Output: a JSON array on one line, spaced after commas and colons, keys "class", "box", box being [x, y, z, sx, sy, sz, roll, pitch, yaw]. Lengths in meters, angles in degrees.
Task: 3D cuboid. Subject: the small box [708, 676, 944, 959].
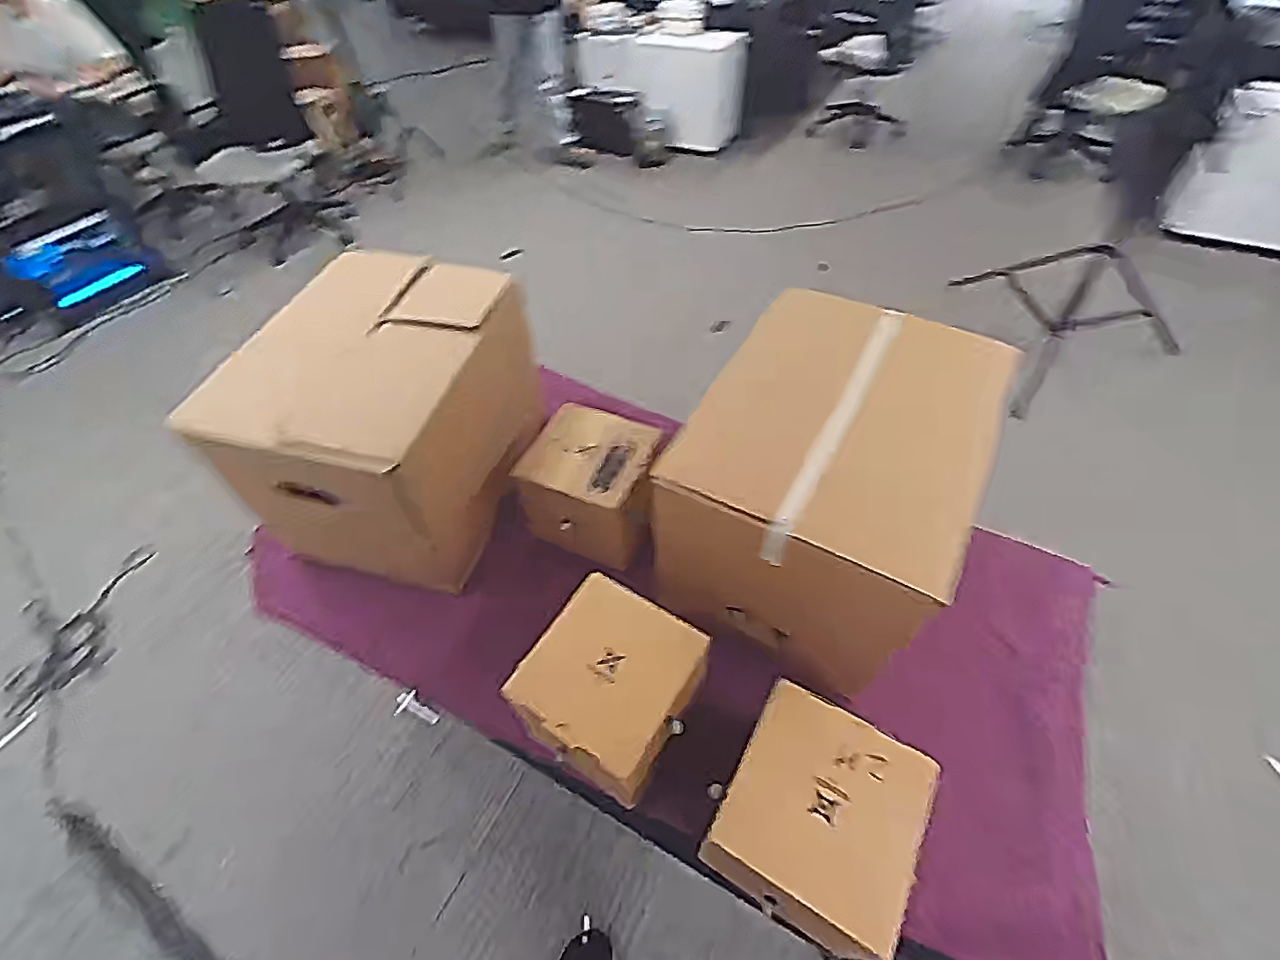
[{"class": "small box", "box": [0.181, 0.348, 0.563, 0.168, 0.176, 0.179, 25, 55, 21]}]
